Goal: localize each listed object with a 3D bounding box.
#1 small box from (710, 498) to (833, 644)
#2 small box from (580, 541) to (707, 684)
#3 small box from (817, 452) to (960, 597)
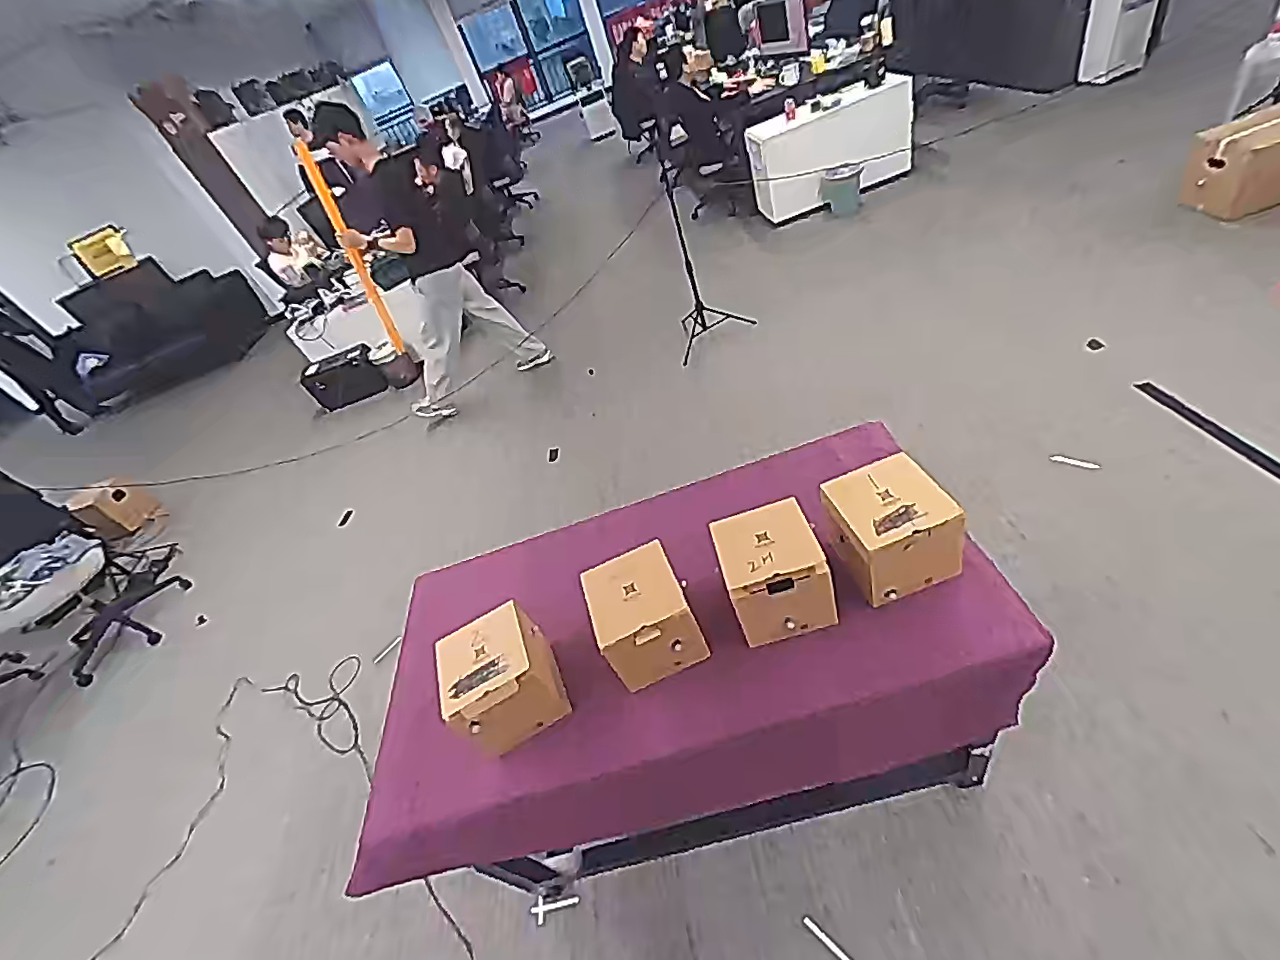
[{"bbox_3d":[0.239,0.168,0.986,0.168,0.176,0.179,-18,41,7],"label":"small box"},{"bbox_3d":[0.008,0.254,1.011,0.168,0.176,0.179,-25,40,0],"label":"small box"},{"bbox_3d":[0.443,0.087,0.971,0.168,0.176,0.179,-23,40,3],"label":"small box"}]
